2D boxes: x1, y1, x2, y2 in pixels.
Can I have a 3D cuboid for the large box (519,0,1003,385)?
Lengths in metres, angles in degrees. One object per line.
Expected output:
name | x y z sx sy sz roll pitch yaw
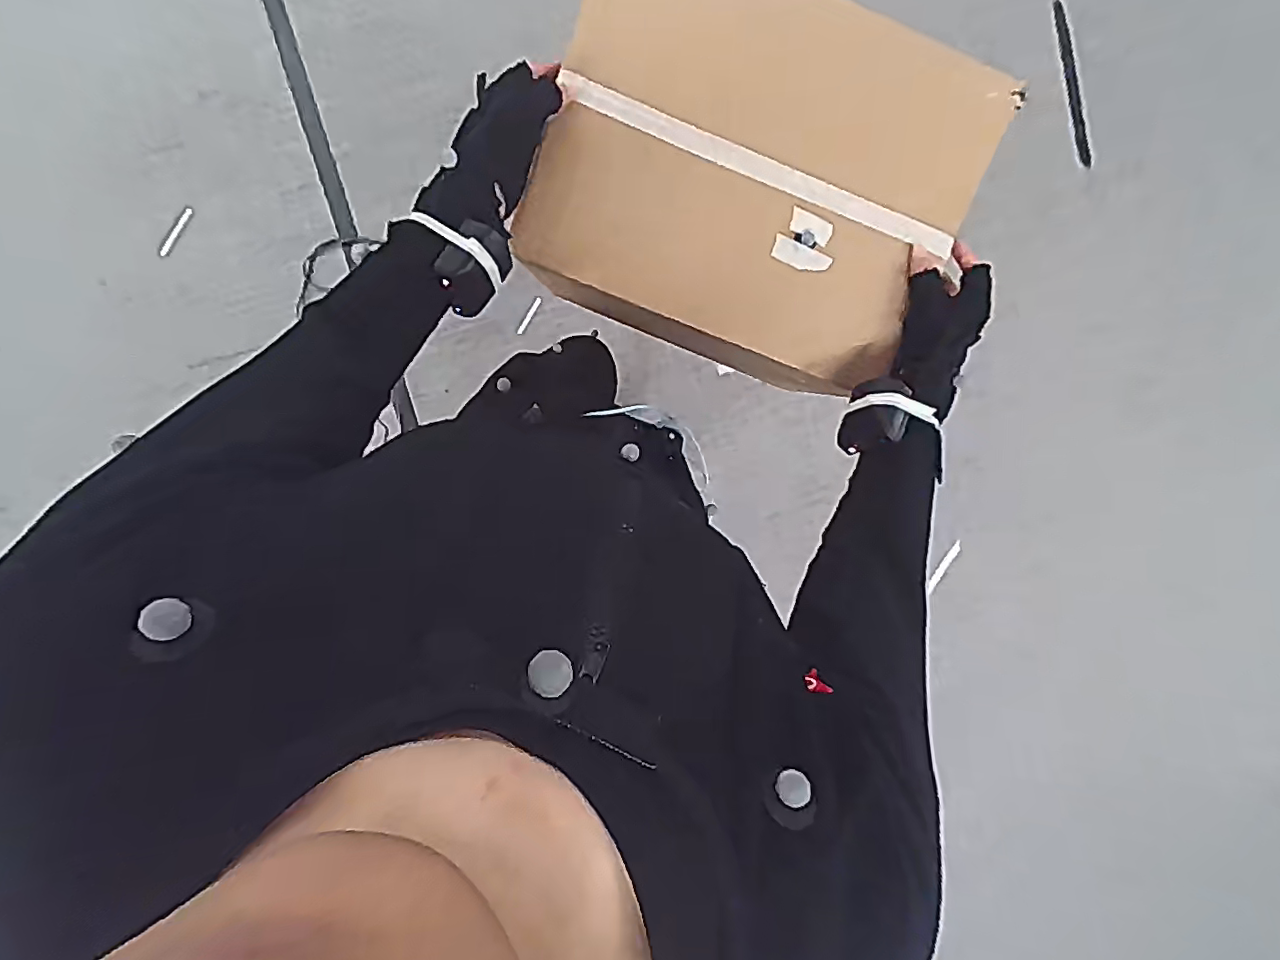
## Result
large box | 0.108 -0.333 0.672 0.408 0.320 0.320 20 102 -6
